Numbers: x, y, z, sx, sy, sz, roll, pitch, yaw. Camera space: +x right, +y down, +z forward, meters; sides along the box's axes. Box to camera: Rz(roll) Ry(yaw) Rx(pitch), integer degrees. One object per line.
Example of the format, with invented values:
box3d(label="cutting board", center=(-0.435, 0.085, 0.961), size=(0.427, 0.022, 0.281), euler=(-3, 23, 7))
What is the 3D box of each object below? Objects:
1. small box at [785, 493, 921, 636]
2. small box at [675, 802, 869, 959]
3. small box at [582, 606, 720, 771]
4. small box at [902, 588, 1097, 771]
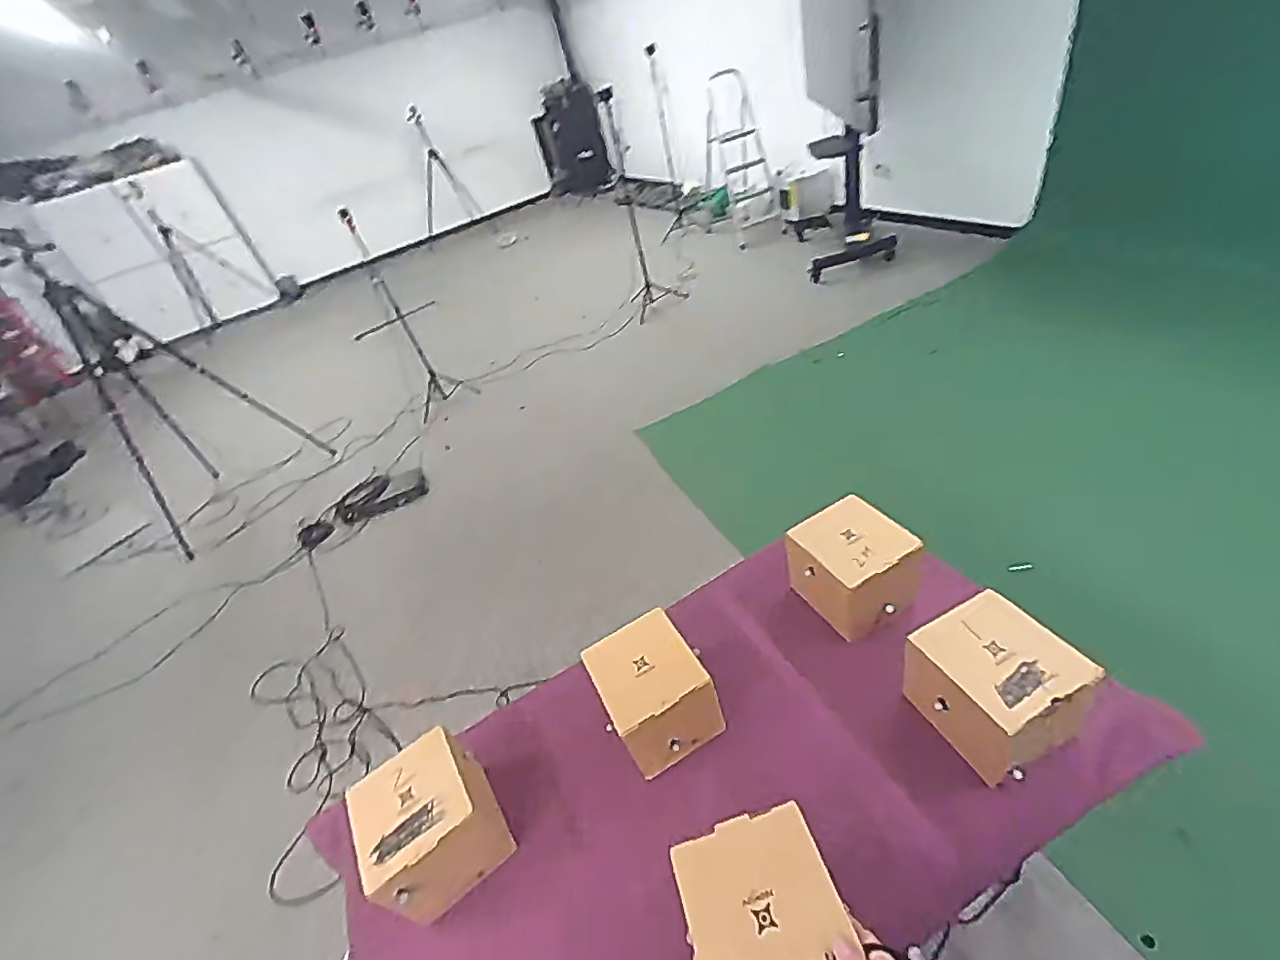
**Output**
box3d(label="small box", center=(0.402, 0.162, 1.039), size=(0.168, 0.176, 0.179), euler=(-28, 40, -11))
box3d(label="small box", center=(0.153, 0.523, 0.631), size=(0.168, 0.176, 0.179), euler=(-19, 38, -2))
box3d(label="small box", center=(0.021, 0.363, 0.945), size=(0.168, 0.176, 0.179), euler=(-28, 41, -13))
box3d(label="small box", center=(0.526, 0.306, 0.818), size=(0.168, 0.176, 0.179), euler=(-26, 37, -9))
